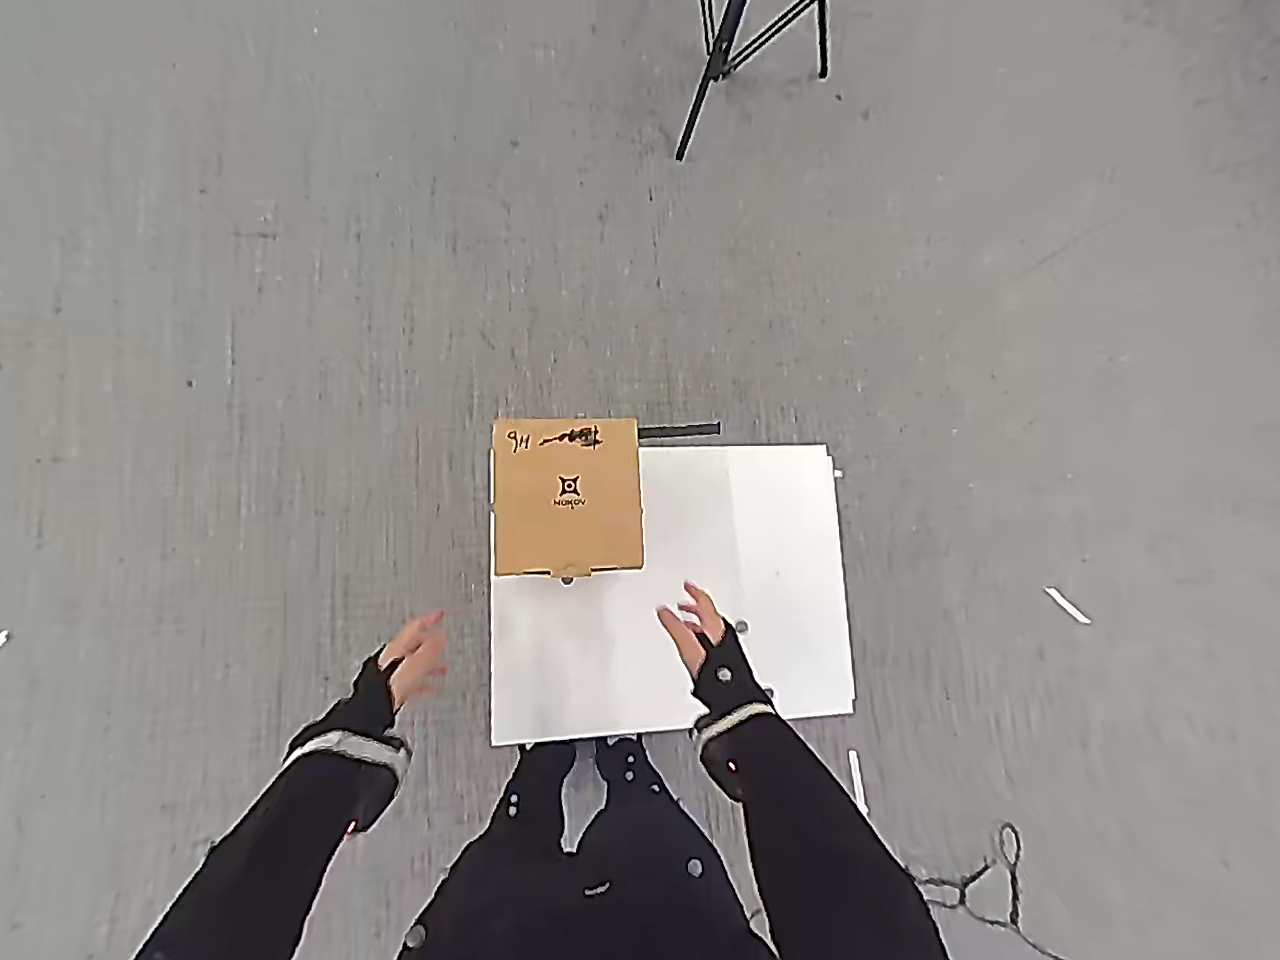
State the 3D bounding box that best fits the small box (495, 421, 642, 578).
[{"bbox_3d":[-0.092,0.029,0.688,0.168,0.176,0.179,-1,82,-10],"label":"small box"}]
